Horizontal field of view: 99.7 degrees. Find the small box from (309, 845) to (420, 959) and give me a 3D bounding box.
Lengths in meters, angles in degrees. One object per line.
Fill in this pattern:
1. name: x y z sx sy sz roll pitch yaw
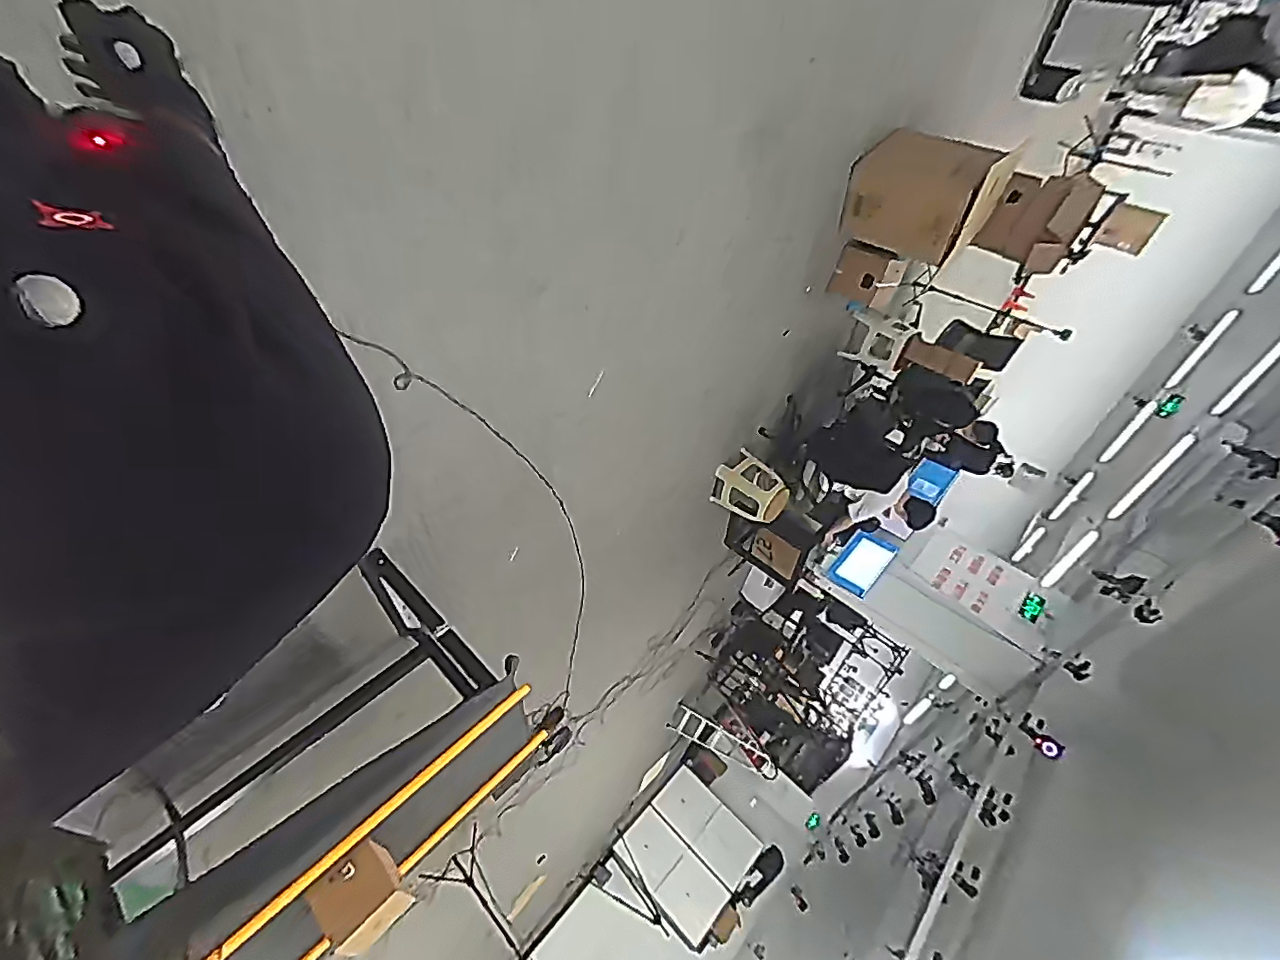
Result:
1. small box: -0.700 1.077 1.380 0.168 0.176 0.179 -38 147 -32
